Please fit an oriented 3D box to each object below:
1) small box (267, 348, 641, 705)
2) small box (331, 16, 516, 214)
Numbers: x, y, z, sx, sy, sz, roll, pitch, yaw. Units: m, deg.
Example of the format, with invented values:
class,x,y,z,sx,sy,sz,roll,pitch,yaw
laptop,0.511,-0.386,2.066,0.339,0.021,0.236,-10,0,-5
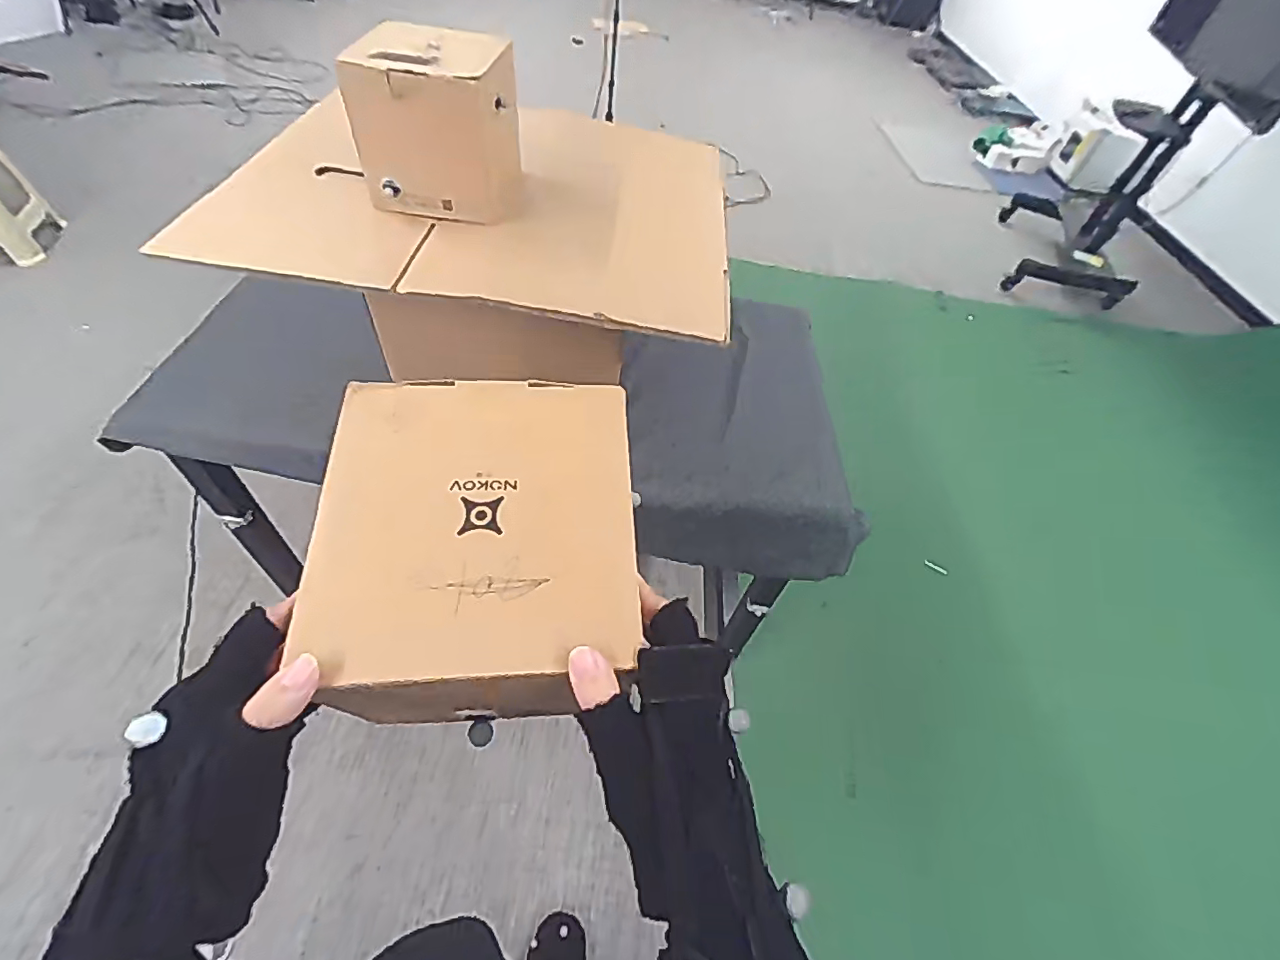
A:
class,x,y,z,sx,sy,sz,roll,pitch,yaw
small box,-0.095,0.038,0.350,0.168,0.176,0.179,-1,62,-8
small box,-0.267,-0.480,0.720,0.168,0.176,0.179,7,52,-2
